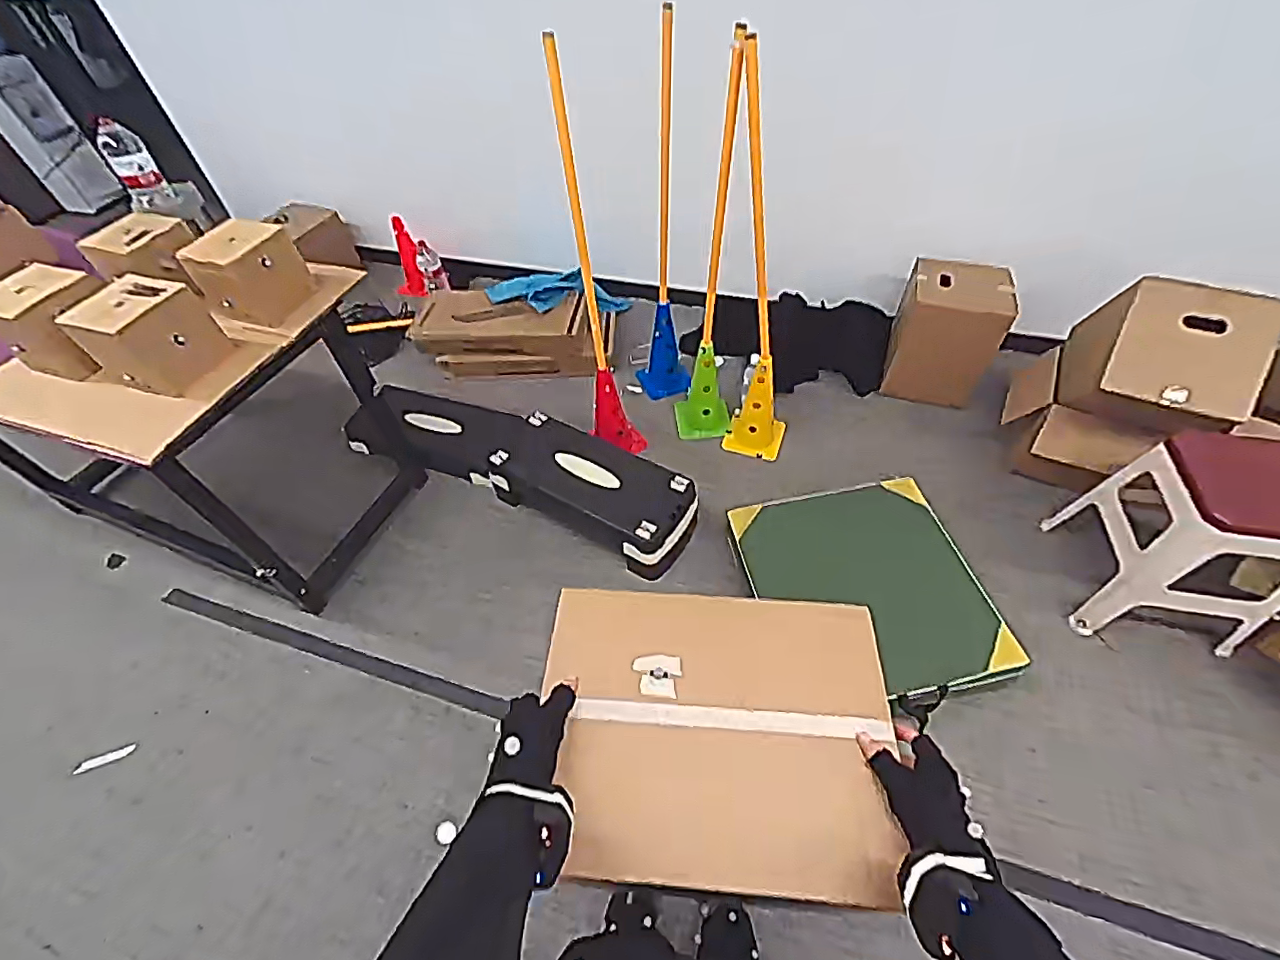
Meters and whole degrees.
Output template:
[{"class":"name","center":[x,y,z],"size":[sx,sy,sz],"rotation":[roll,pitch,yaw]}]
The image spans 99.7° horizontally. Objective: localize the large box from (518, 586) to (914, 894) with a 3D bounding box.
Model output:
[{"class":"large box","center":[0.091,0.362,0.747],"size":[0.408,0.320,0.320],"rotation":[3,50,5]}]
